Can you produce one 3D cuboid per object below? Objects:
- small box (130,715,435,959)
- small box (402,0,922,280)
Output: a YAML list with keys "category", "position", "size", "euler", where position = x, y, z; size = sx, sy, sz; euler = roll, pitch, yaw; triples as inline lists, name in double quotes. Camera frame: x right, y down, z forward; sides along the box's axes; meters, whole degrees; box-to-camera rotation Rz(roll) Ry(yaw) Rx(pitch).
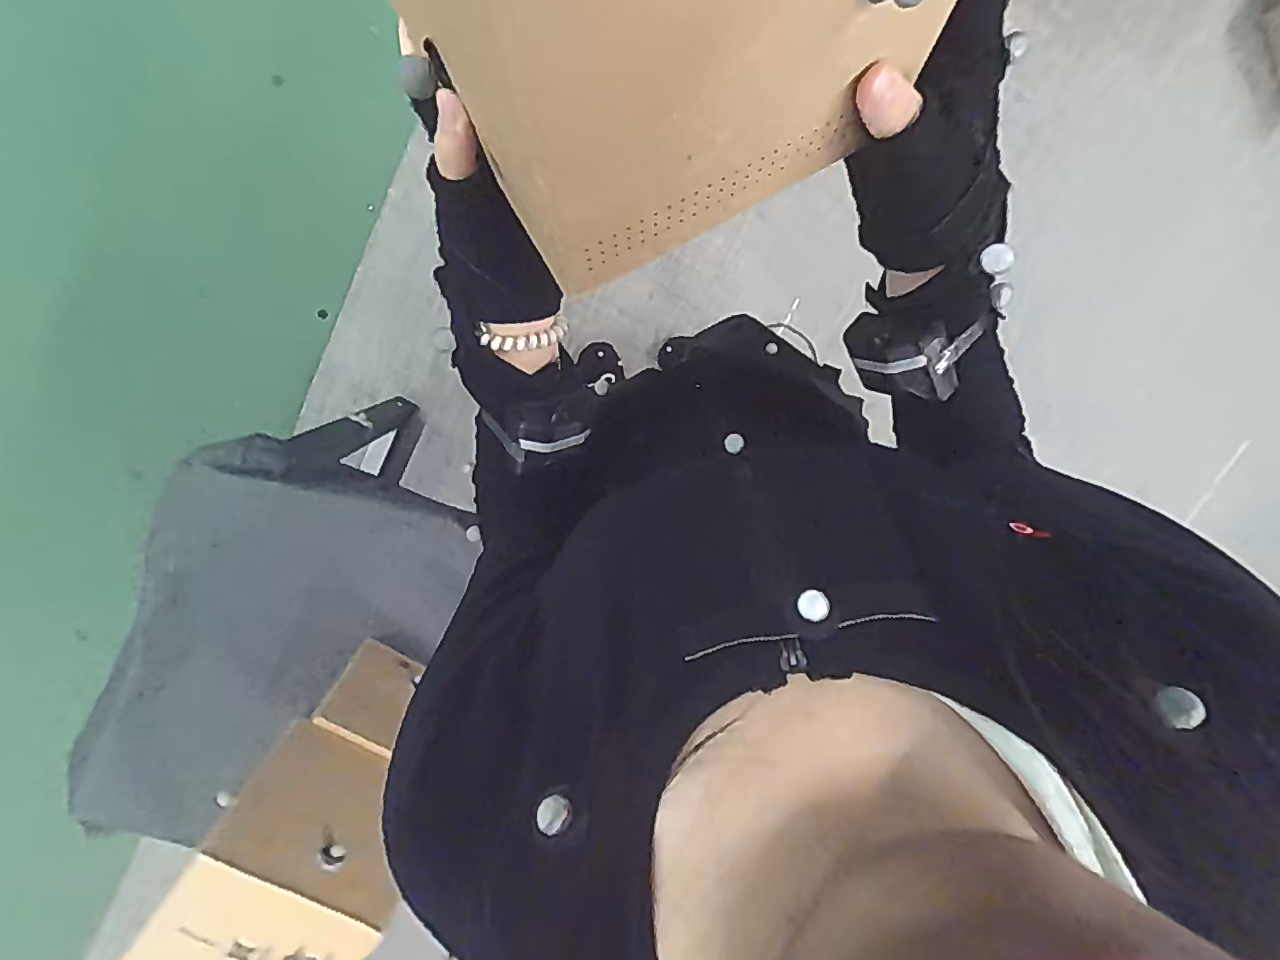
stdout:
- category: "small box"
  position: [-0.345, 0.386, 0.564]
  size: [0.179, 0.176, 0.168]
  euler: [36, 99, -13]
- category: "small box"
  position: [-0.003, -0.212, 0.193]
  size: [0.179, 0.176, 0.168]
  euler: [-28, 78, -3]
